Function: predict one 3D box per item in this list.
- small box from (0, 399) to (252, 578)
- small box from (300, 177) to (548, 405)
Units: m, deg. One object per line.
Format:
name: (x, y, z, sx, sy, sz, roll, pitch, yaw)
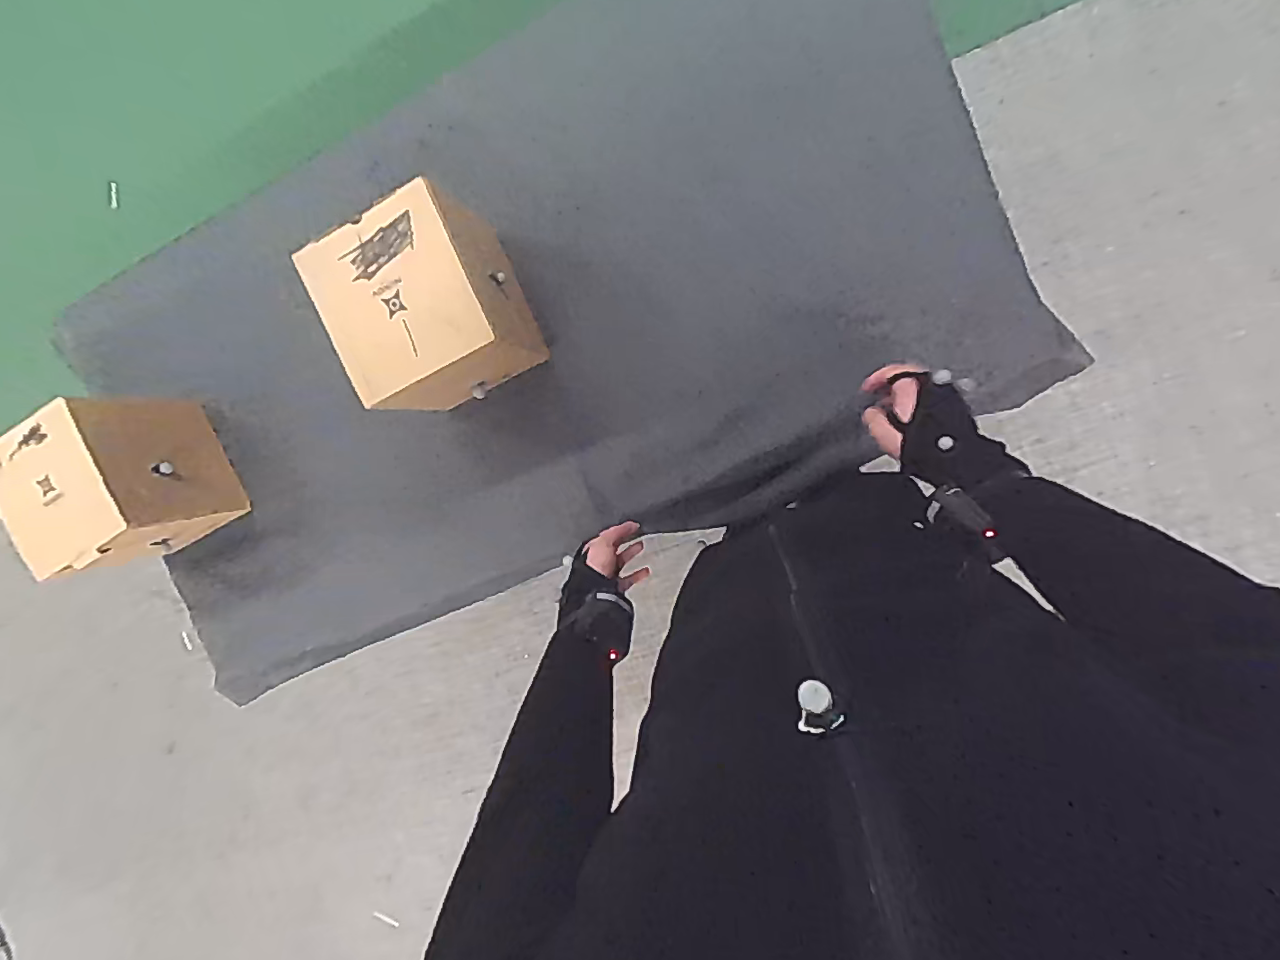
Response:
small box: (-0.678, 0.003, 0.726, 0.168, 0.176, 0.179, -26, 92, 12)
small box: (-0.231, -0.196, 0.622, 0.168, 0.176, 0.179, -24, 93, 12)
